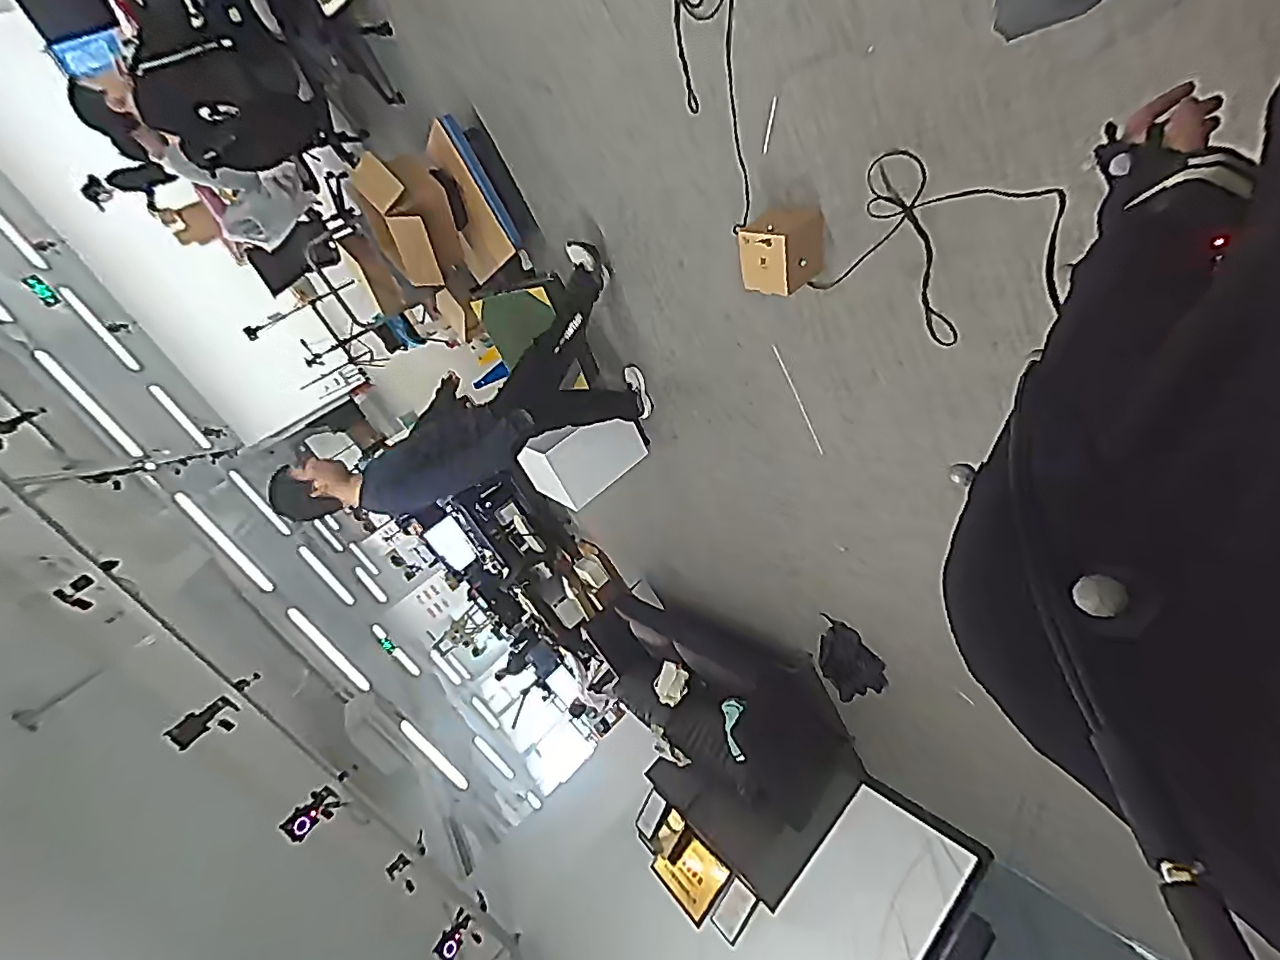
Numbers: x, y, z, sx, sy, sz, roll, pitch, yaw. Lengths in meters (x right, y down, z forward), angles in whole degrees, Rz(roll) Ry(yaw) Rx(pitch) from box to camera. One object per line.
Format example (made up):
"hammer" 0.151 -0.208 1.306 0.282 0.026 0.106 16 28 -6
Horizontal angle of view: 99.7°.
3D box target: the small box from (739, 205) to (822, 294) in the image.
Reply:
"small box" 0.413 -0.671 1.570 0.168 0.176 0.179 31 150 41
